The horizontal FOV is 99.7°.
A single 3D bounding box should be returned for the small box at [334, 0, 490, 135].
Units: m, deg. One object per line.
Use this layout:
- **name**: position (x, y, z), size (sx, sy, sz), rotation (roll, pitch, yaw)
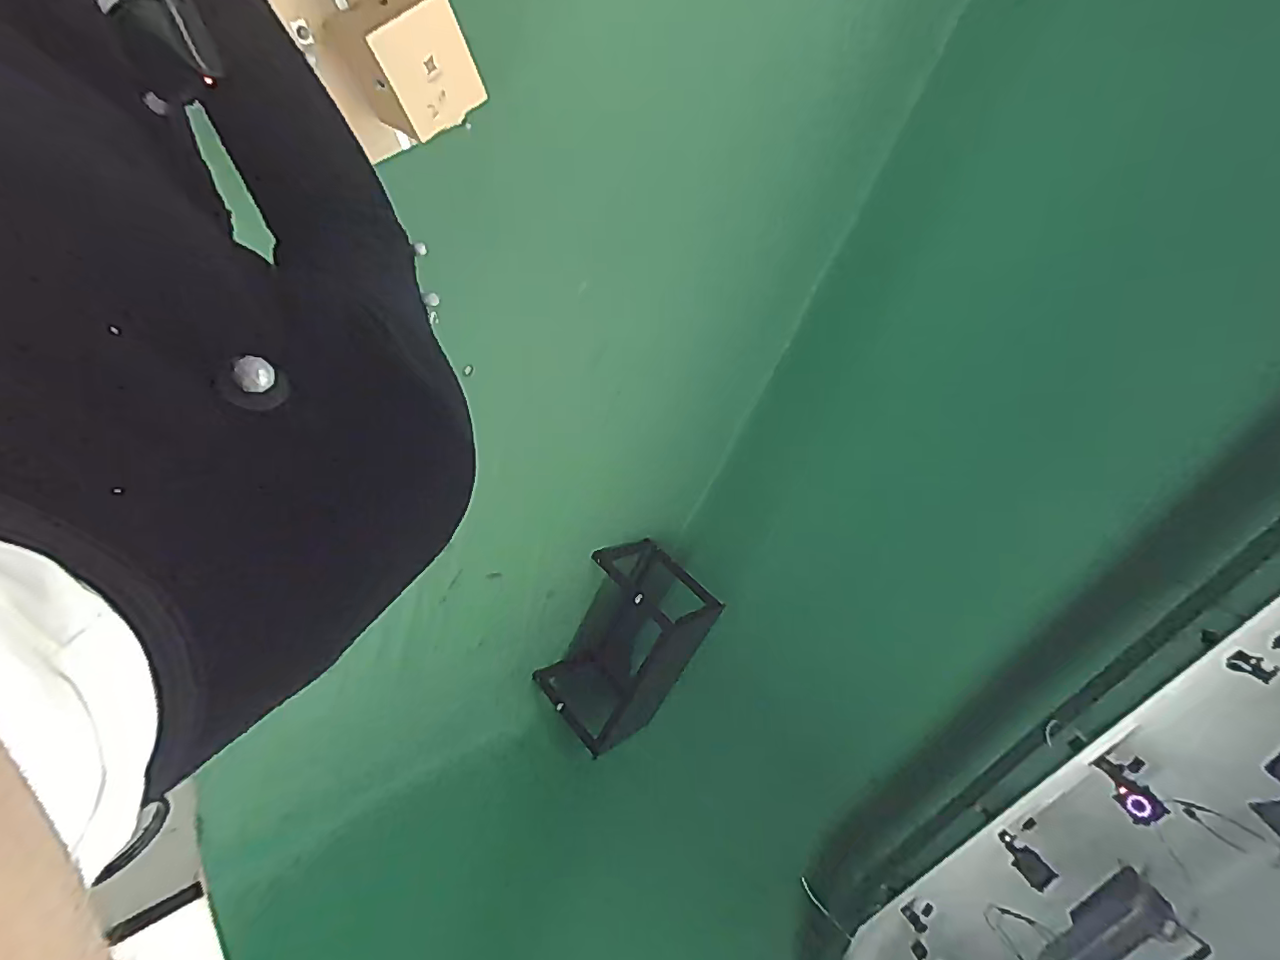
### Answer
- **small box**: position (-0.420, -0.786, 0.998), size (0.168, 0.176, 0.179), rotation (-43, 151, -12)
